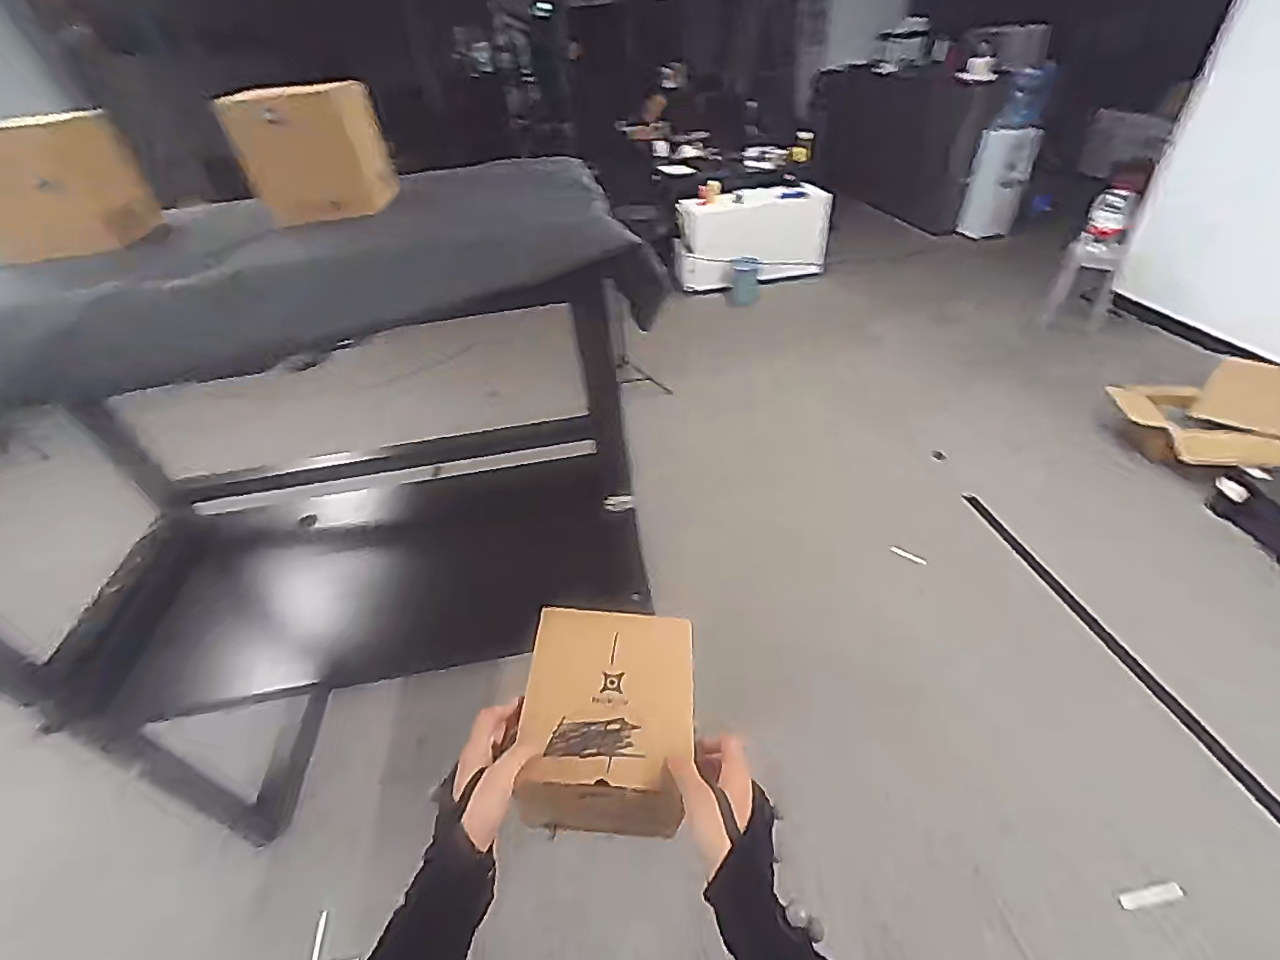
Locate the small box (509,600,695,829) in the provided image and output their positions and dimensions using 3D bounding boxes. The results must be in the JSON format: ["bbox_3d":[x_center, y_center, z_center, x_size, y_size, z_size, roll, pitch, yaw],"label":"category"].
[{"bbox_3d":[-0.032,0.256,0.586,0.168,0.176,0.179,5,44,0],"label":"small box"}]

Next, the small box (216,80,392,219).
[{"bbox_3d":[-0.525,-0.537,0.879,0.168,0.176,0.179,-10,39,-5],"label":"small box"}]
